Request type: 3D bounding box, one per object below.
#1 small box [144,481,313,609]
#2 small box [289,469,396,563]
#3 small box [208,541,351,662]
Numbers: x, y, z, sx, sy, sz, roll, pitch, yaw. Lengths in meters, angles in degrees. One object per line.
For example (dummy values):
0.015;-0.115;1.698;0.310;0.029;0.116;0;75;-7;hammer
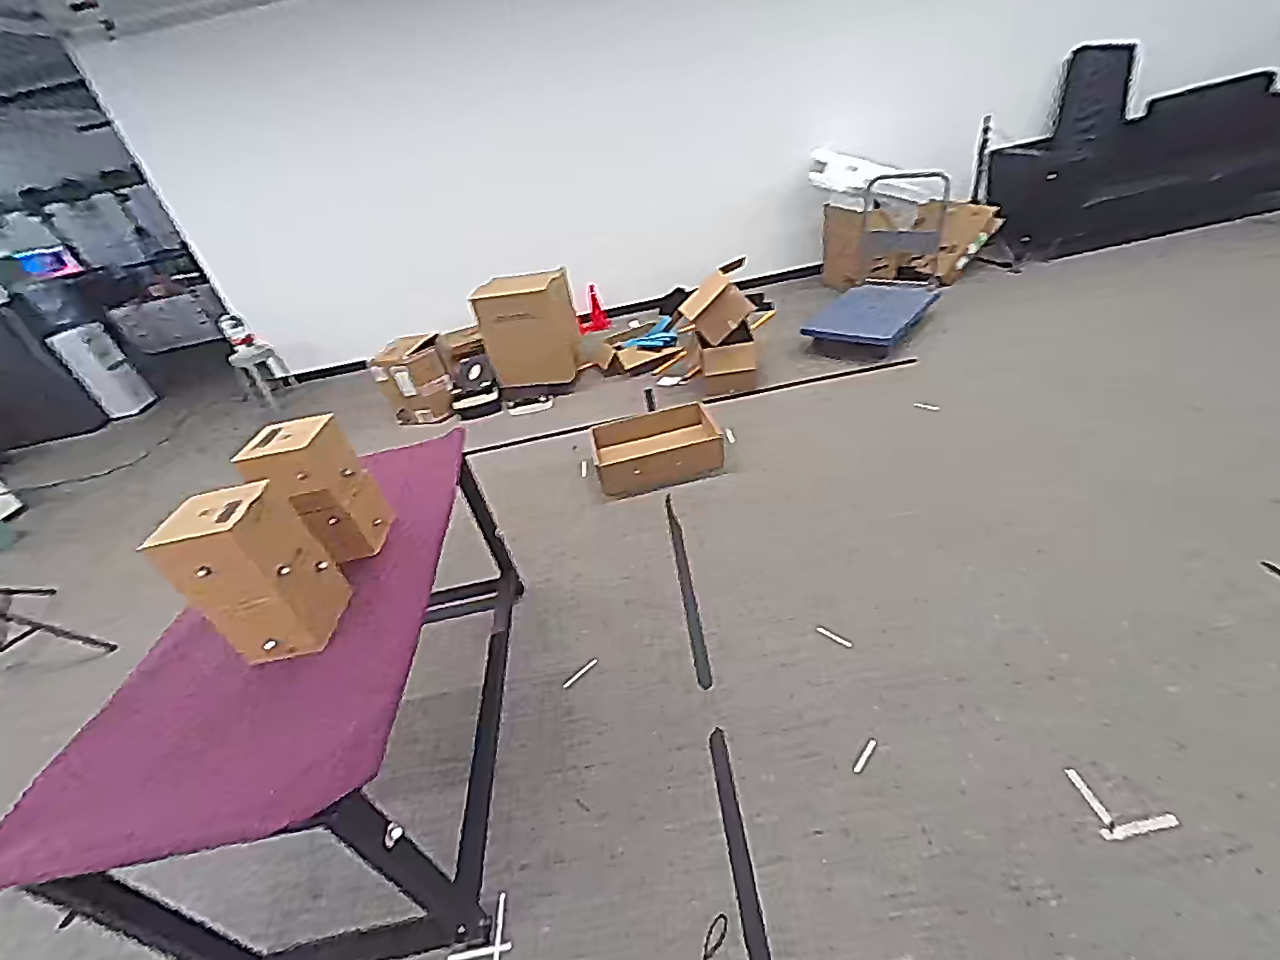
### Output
-0.796;0.130;1.073;0.179;0.176;0.168;-13;34;1;small box
-0.768;0.100;1.397;0.179;0.176;0.168;-12;35;3;small box
-0.758;0.260;1.165;0.168;0.176;0.179;-12;35;3;small box
